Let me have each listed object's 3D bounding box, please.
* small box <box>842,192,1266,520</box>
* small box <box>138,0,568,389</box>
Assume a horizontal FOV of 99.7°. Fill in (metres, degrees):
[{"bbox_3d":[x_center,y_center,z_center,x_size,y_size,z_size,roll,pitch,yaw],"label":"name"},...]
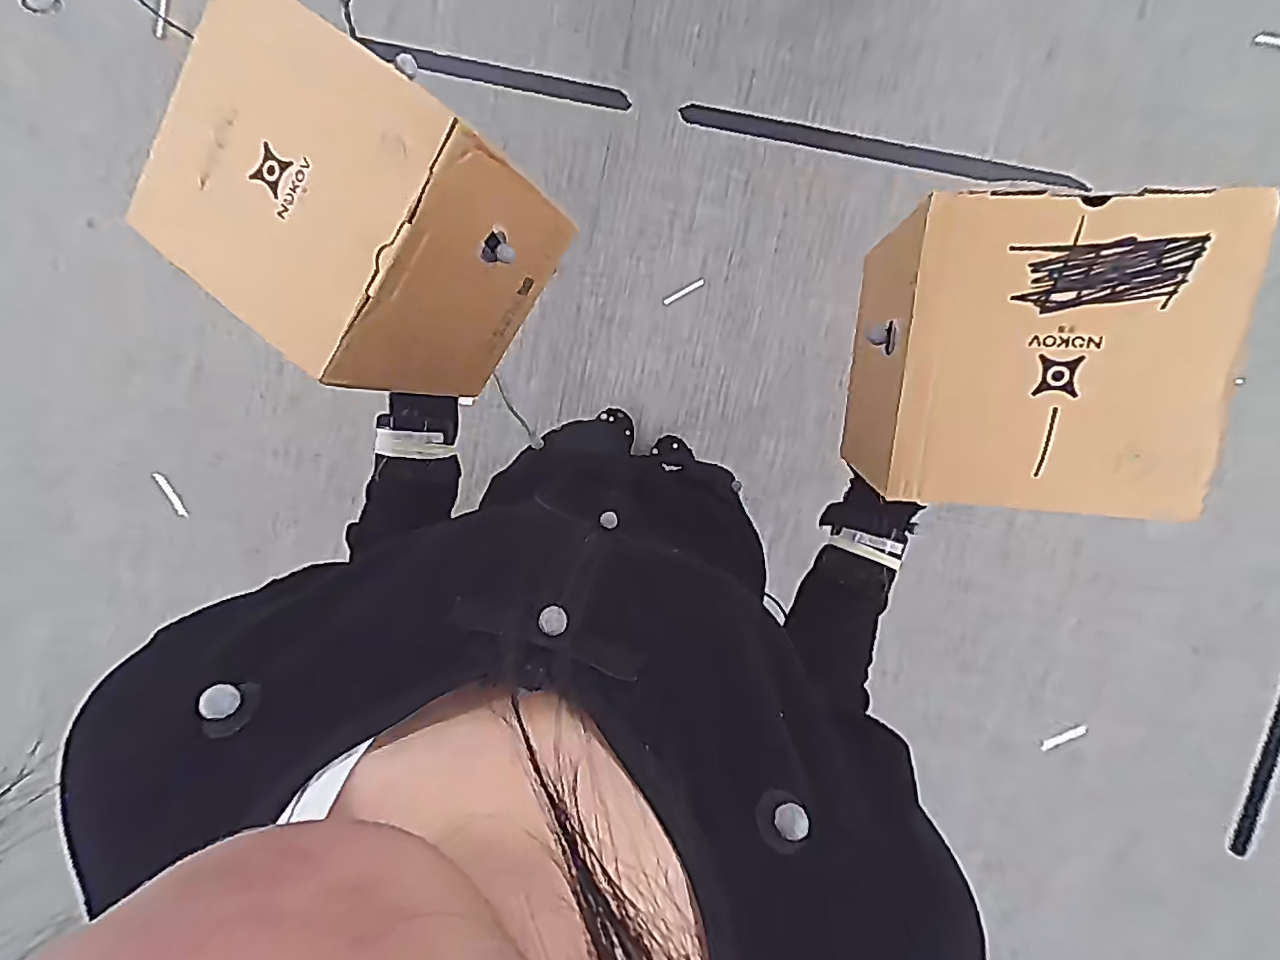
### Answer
[{"bbox_3d":[0.249,-0.084,0.382,0.168,0.176,0.179,5,103,10],"label":"small box"},{"bbox_3d":[-0.180,-0.178,0.384,0.179,0.176,0.168,37,103,9],"label":"small box"}]
